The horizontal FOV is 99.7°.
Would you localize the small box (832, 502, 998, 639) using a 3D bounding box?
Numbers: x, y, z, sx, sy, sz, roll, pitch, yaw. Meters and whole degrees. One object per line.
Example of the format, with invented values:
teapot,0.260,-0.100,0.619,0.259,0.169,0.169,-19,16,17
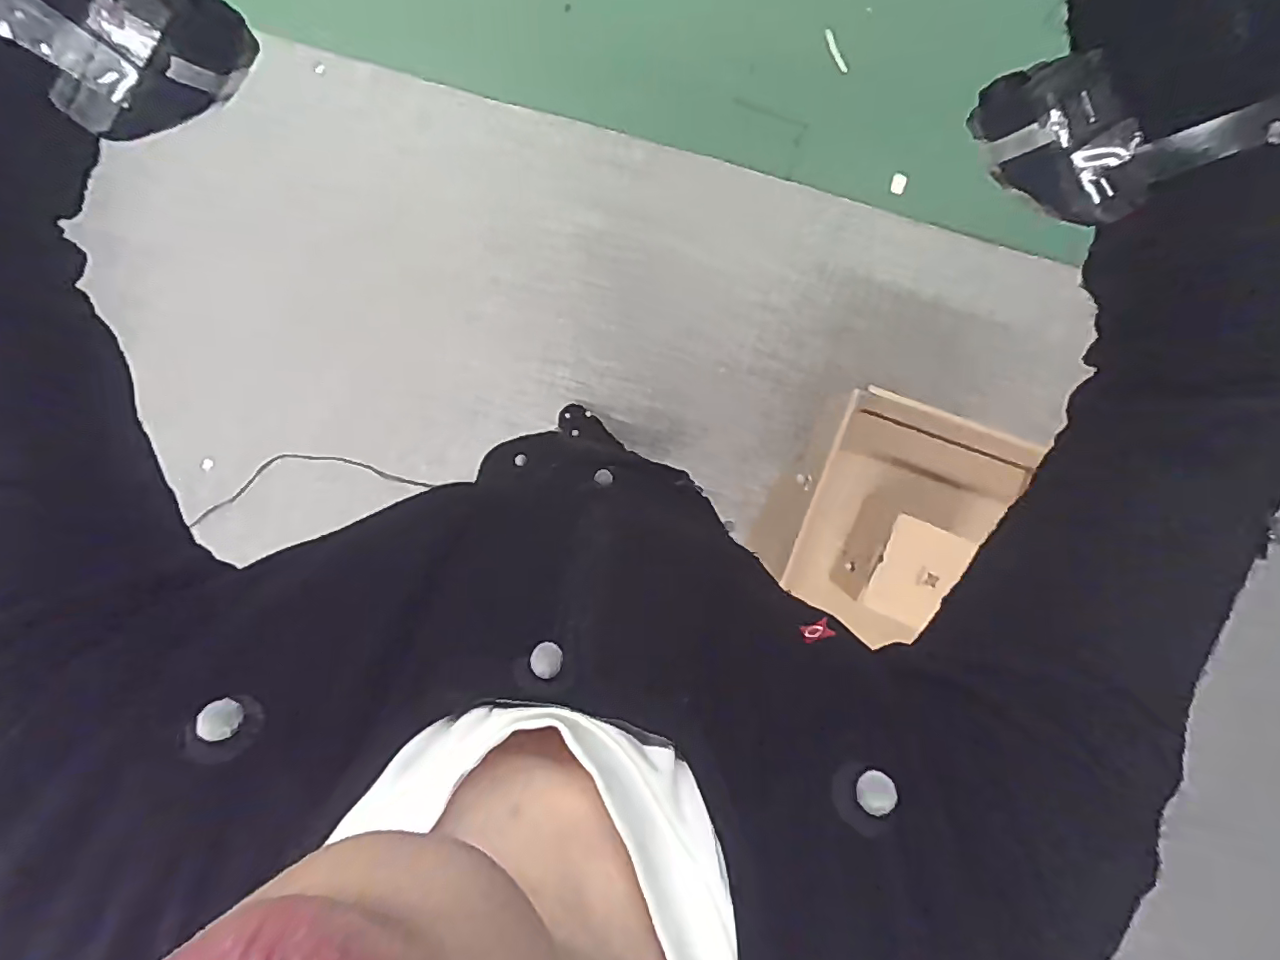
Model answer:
small box,0.466,0.147,0.951,0.179,0.176,0.168,22,96,-1
